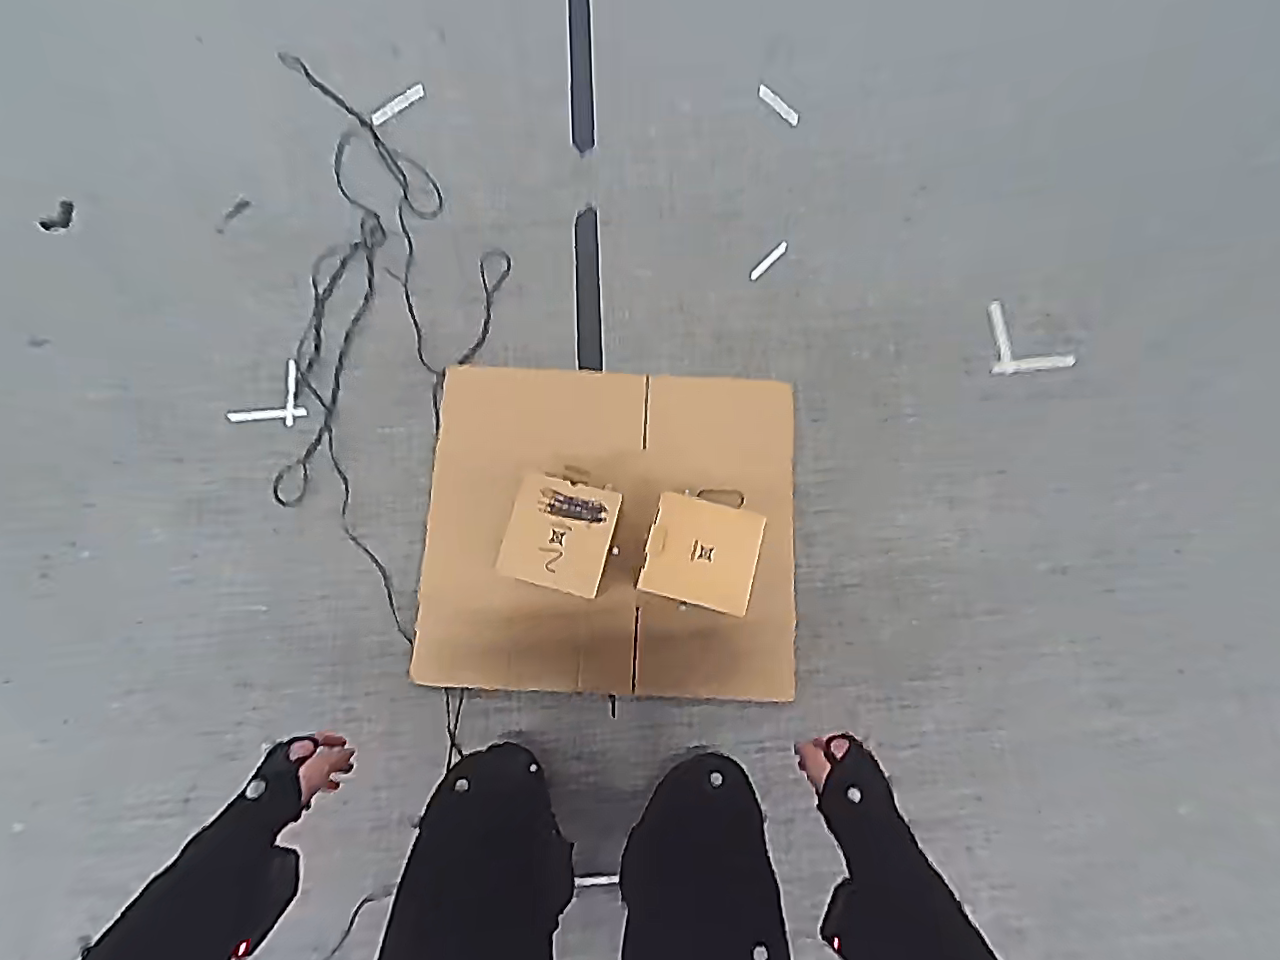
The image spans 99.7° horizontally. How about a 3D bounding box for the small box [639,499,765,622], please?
[{"bbox_3d":[0.103,0.143,0.958,0.179,0.176,0.168,15,79,3],"label":"small box"}]
